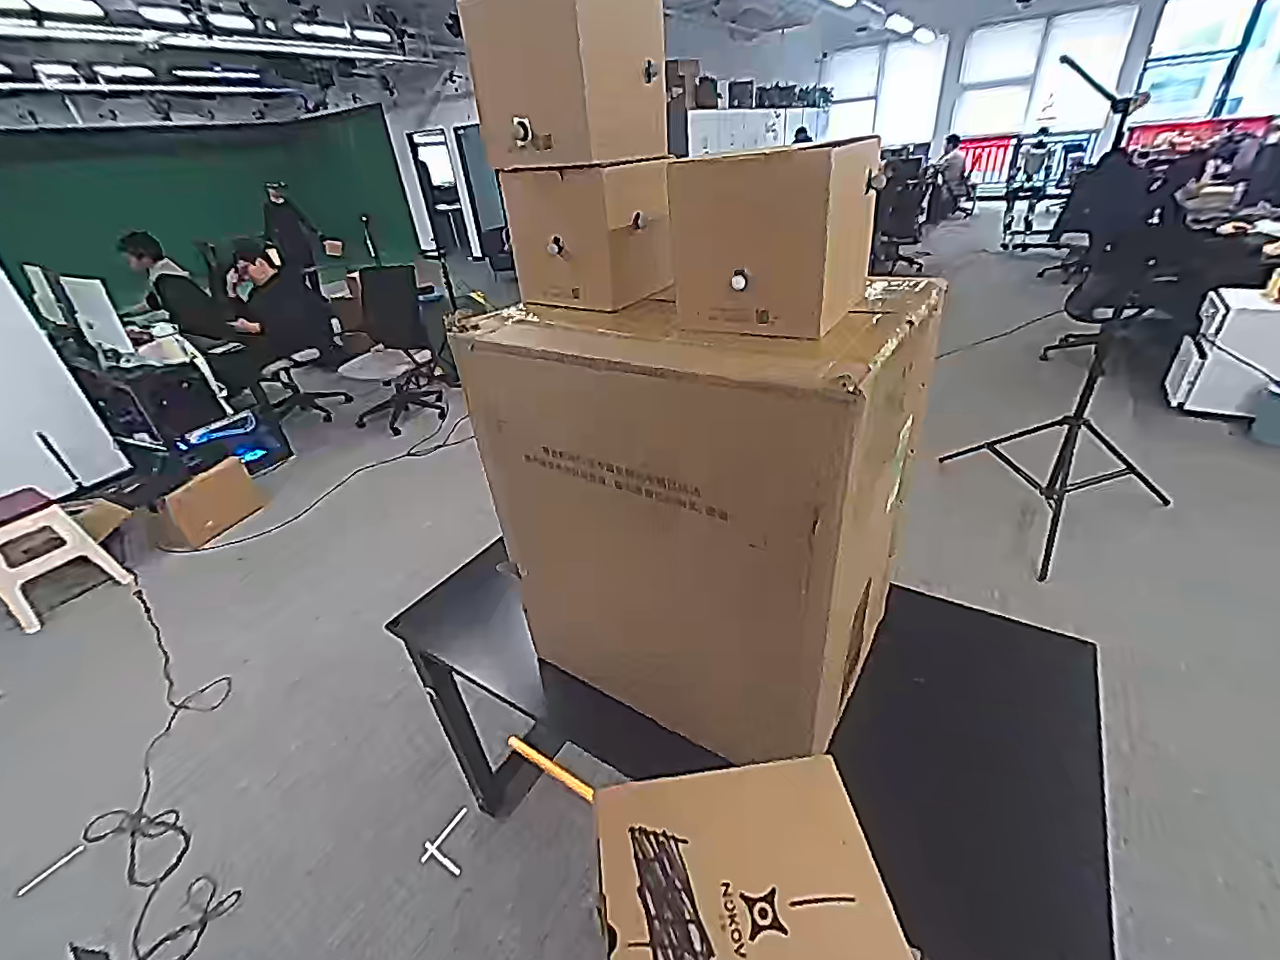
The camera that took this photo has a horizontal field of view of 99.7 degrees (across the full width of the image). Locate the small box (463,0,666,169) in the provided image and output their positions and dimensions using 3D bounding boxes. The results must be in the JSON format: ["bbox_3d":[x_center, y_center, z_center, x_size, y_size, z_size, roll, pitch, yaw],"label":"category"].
[{"bbox_3d":[-0.079,-0.478,0.653,0.168,0.176,0.179,14,37,29],"label":"small box"}]

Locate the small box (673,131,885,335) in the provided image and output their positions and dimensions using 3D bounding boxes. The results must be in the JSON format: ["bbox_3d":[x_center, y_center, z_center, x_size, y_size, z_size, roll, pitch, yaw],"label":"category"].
[{"bbox_3d":[0.151,-0.269,0.588,0.168,0.176,0.179,14,37,31],"label":"small box"}]

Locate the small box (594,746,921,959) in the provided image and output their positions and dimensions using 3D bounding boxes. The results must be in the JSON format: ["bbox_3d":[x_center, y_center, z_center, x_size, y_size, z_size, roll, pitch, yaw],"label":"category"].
[{"bbox_3d":[0.065,0.311,0.369,0.179,0.176,0.168,-4,40,-6],"label":"small box"}]

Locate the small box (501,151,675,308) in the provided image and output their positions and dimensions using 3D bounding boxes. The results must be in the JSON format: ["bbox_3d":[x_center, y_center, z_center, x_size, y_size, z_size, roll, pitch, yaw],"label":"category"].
[{"bbox_3d":[-0.059,-0.345,0.748,0.168,0.176,0.179,16,38,29],"label":"small box"}]
